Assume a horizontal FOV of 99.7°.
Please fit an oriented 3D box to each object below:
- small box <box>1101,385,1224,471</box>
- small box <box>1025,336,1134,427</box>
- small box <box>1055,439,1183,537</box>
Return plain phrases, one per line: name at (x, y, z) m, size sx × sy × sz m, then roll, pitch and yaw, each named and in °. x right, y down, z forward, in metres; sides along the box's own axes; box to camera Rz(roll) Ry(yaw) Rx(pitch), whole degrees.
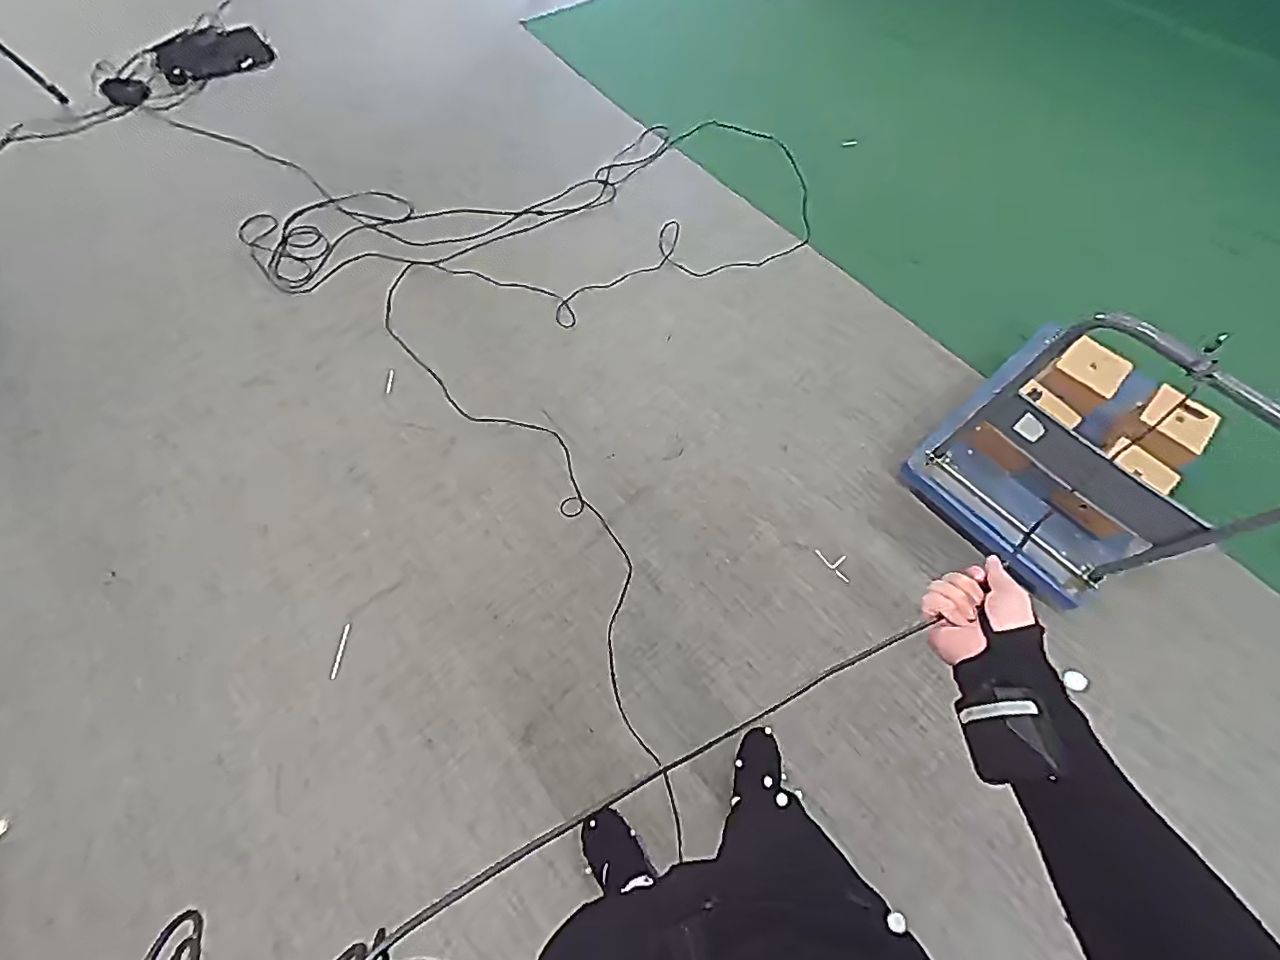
small box at (1.496, -0.131, 1.560) m, size 0.168 × 0.176 × 0.179 m, roll 42°, pitch 70°, yaw 18°
small box at (1.316, -0.292, 1.634) m, size 0.168 × 0.176 × 0.179 m, roll 42°, pitch 69°, yaw 16°
small box at (1.293, 0.026, 1.475) m, size 0.179 × 0.176 × 0.168 m, roll -37°, pitch 70°, yaw -18°
